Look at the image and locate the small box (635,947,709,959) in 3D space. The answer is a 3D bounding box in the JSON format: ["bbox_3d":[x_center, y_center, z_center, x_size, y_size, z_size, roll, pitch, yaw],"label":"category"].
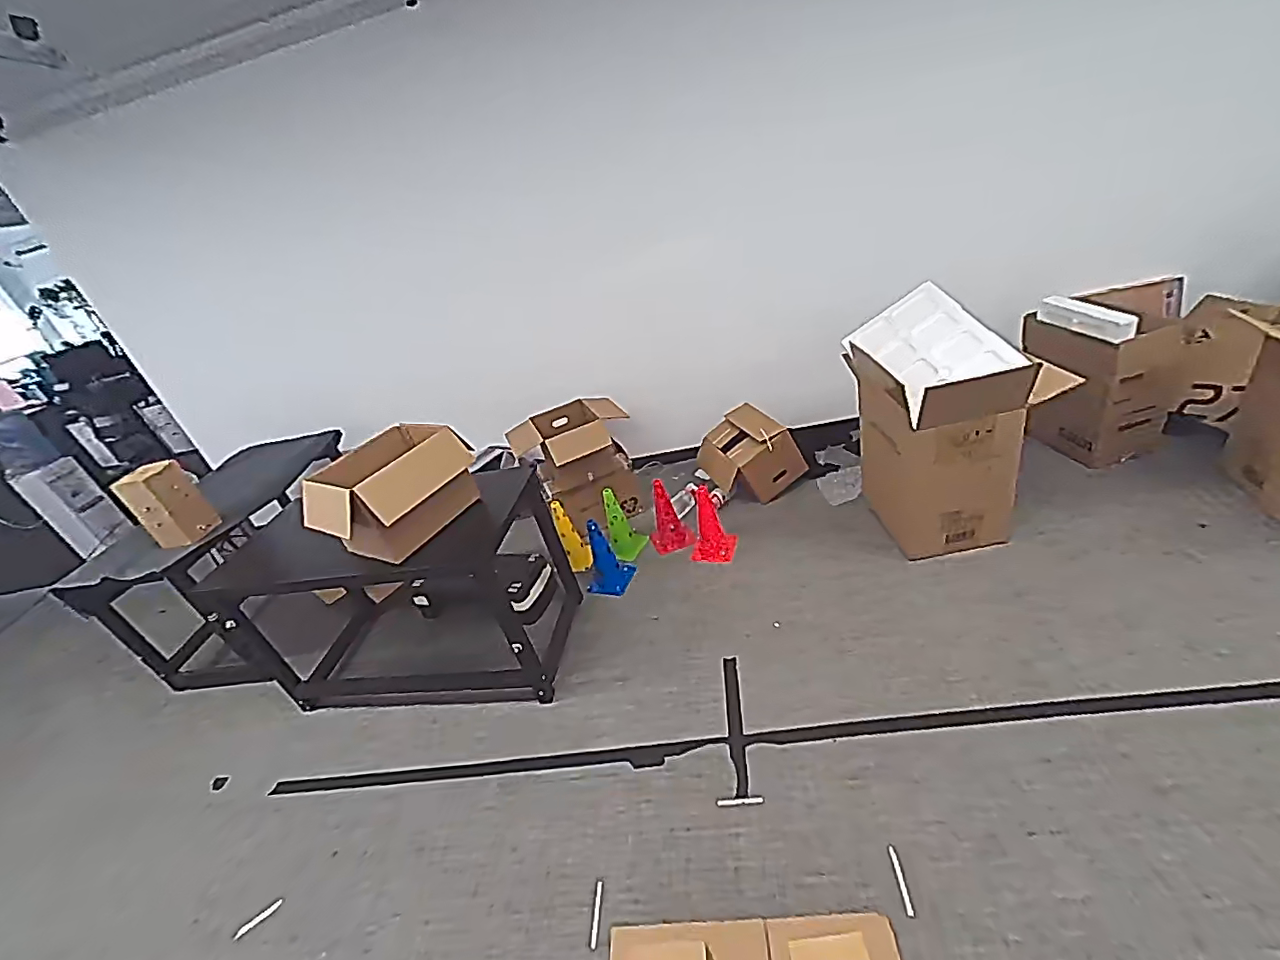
[{"bbox_3d":[0.083,1.172,1.186,0.168,0.176,0.179,-11,30,9],"label":"small box"}]

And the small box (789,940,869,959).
[{"bbox_3d":[0.419,1.117,1.135,0.168,0.176,0.179,-12,30,5],"label":"small box"}]
